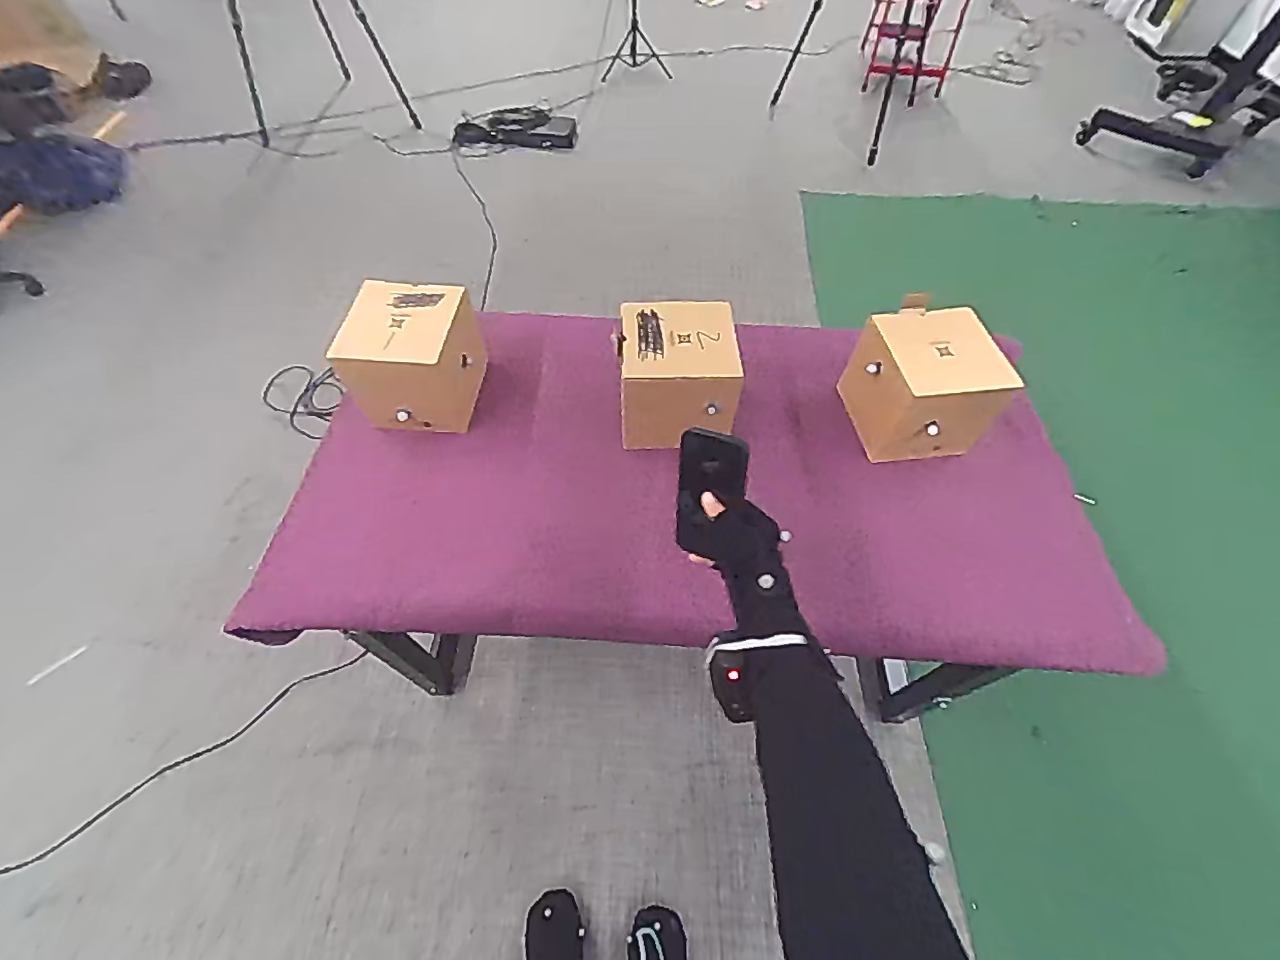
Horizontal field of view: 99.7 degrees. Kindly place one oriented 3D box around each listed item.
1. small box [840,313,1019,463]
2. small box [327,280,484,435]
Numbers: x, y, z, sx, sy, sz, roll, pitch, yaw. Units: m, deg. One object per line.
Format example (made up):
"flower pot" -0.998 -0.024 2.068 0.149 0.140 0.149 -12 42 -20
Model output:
"small box" 0.446 -0.140 0.868 0.168 0.176 0.179 -6 56 -4
"small box" -0.366 -0.198 0.886 0.168 0.176 0.179 4 58 2
